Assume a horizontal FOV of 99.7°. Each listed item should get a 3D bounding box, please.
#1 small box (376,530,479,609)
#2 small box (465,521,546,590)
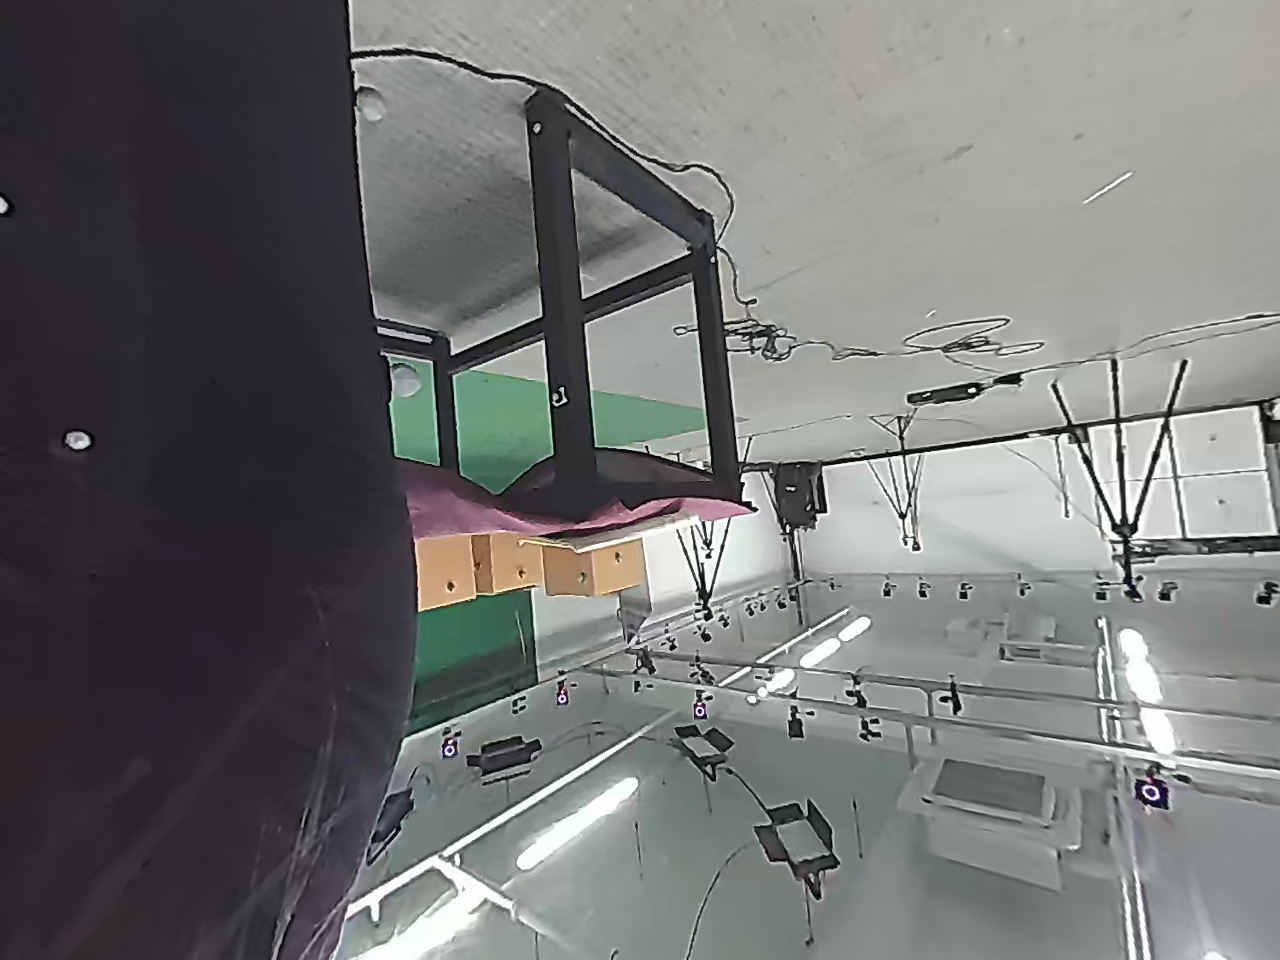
[{"bbox_3d":[-0.524,0.216,1.335,0.168,0.176,0.179,-8,176,32],"label":"small box"},{"bbox_3d":[-0.390,0.211,1.520,0.168,0.176,0.179,-8,176,38],"label":"small box"}]
